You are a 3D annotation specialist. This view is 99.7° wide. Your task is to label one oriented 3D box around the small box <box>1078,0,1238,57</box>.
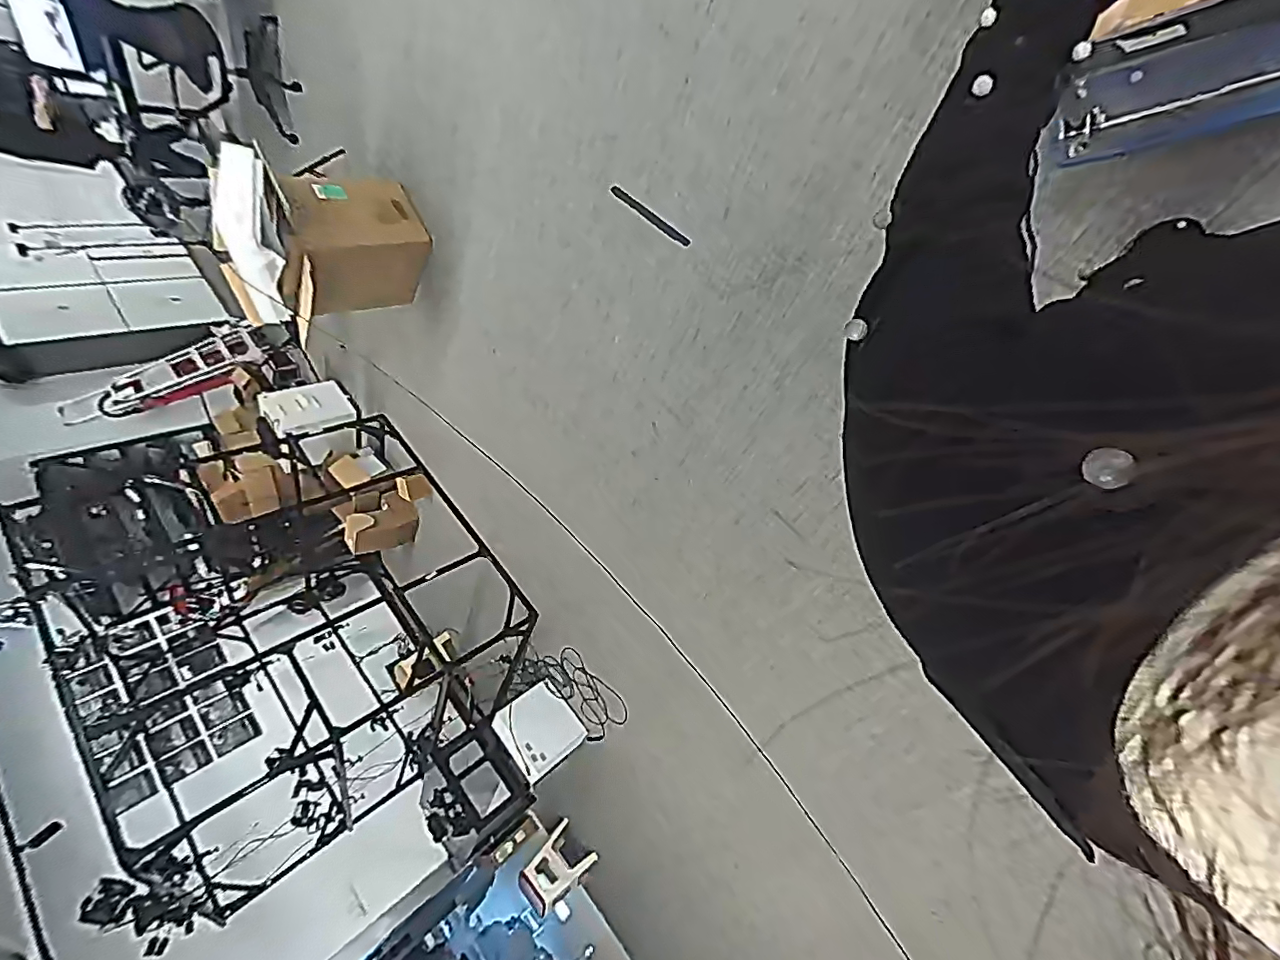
[{"bbox_3d":[0.735,-0.735,0.762,0.168,0.176,0.179,2,112,45],"label":"small box"}]
